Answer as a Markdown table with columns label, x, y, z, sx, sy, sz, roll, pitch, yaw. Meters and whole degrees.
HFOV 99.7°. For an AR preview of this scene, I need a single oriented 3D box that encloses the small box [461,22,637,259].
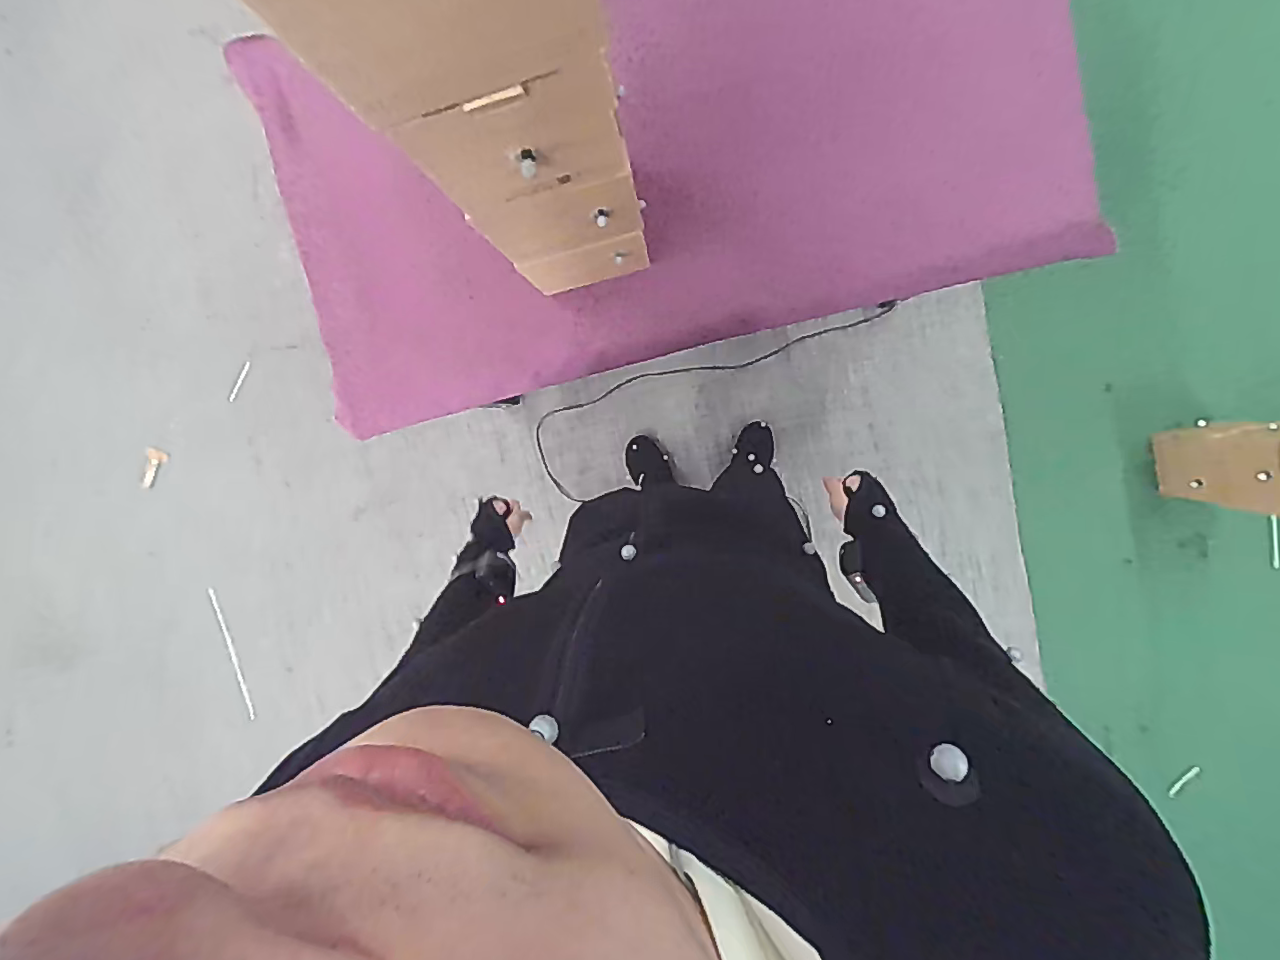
| label | x | y | z | sx | sy | sz | roll | pitch | yaw |
| --- | --- | --- | --- | --- | --- | --- | --- | --- | --- |
| small box | -0.104 | -0.372 | 0.609 | 0.179 | 0.176 | 0.168 | -13 | 95 | 6 |

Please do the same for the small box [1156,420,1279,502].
| label | x | y | z | sx | sy | sz | roll | pitch | yaw |
| --- | --- | --- | --- | --- | --- | --- | --- | --- | --- |
| small box | 1.499 | -0.054 | 1.400 | 0.168 | 0.176 | 0.179 | -12 | 96 | 6 |

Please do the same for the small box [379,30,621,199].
| label | x | y | z | sx | sy | sz | roll | pitch | yaw |
| --- | --- | --- | --- | --- | --- | --- | --- | --- | --- |
| small box | -0.119 | -0.360 | 0.447 | 0.168 | 0.176 | 0.179 | -15 | 95 | 6 |

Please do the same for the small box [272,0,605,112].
| label | x | y | z | sx | sy | sz | roll | pitch | yaw |
| --- | --- | --- | --- | --- | --- | --- | --- | --- | --- |
| small box | -0.130 | -0.339 | 0.284 | 0.179 | 0.176 | 0.168 | -15 | 94 | 5 |

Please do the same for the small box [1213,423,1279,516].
| label | x | y | z | sx | sy | sz | roll | pitch | yaw |
| --- | --- | --- | --- | --- | --- | --- | --- | --- | --- |
| small box | 1.488 | -0.028 | 1.240 | 0.168 | 0.176 | 0.179 | -14 | 94 | 7 |
